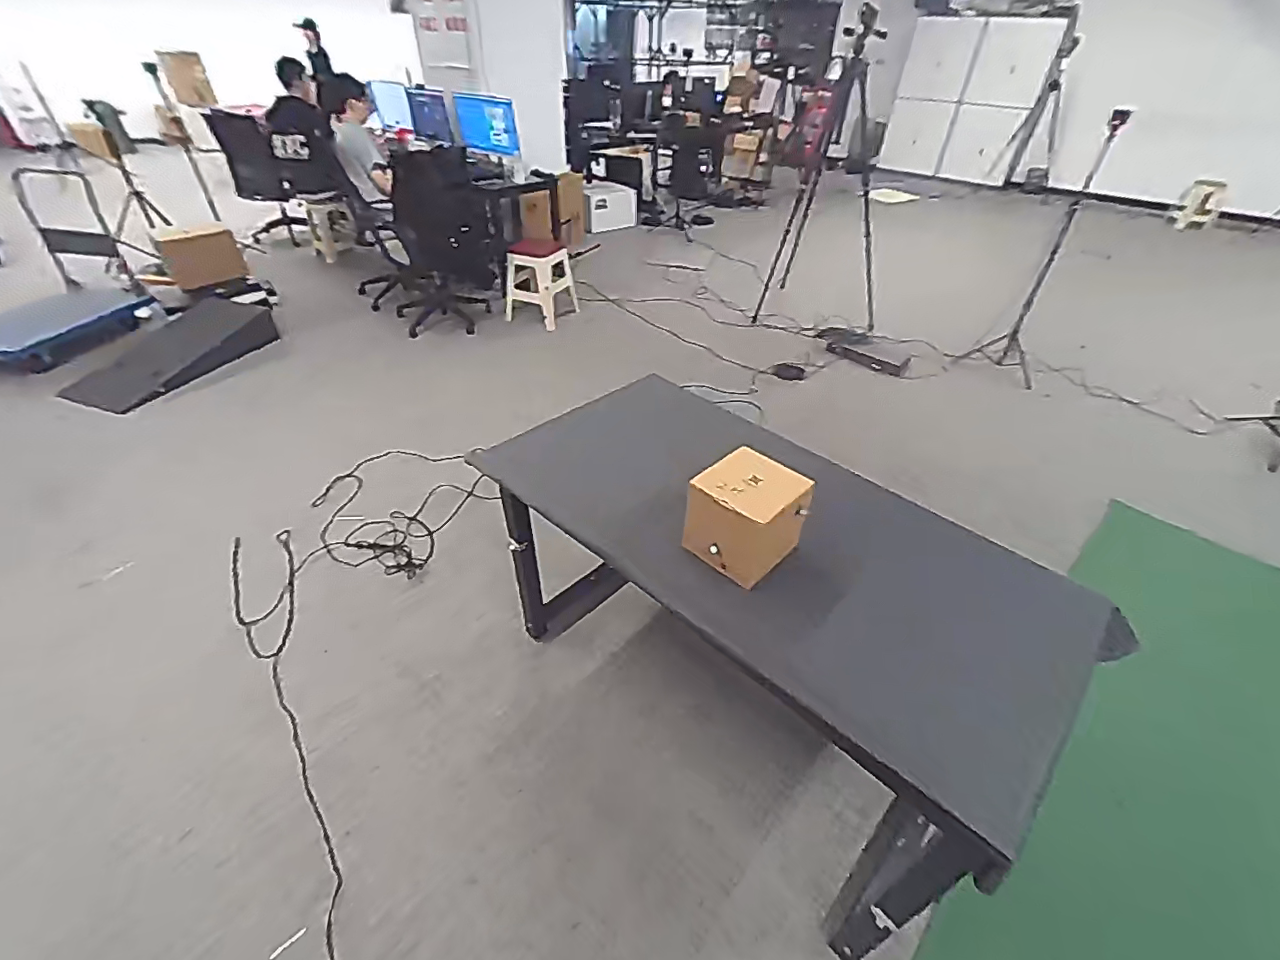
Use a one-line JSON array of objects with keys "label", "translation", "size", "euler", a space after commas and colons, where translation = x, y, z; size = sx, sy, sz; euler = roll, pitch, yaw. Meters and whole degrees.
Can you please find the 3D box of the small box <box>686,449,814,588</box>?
[{"label": "small box", "translation": [0.204, 0.073, 1.047], "size": [0.168, 0.176, 0.179], "euler": [32, 47, 32]}]
